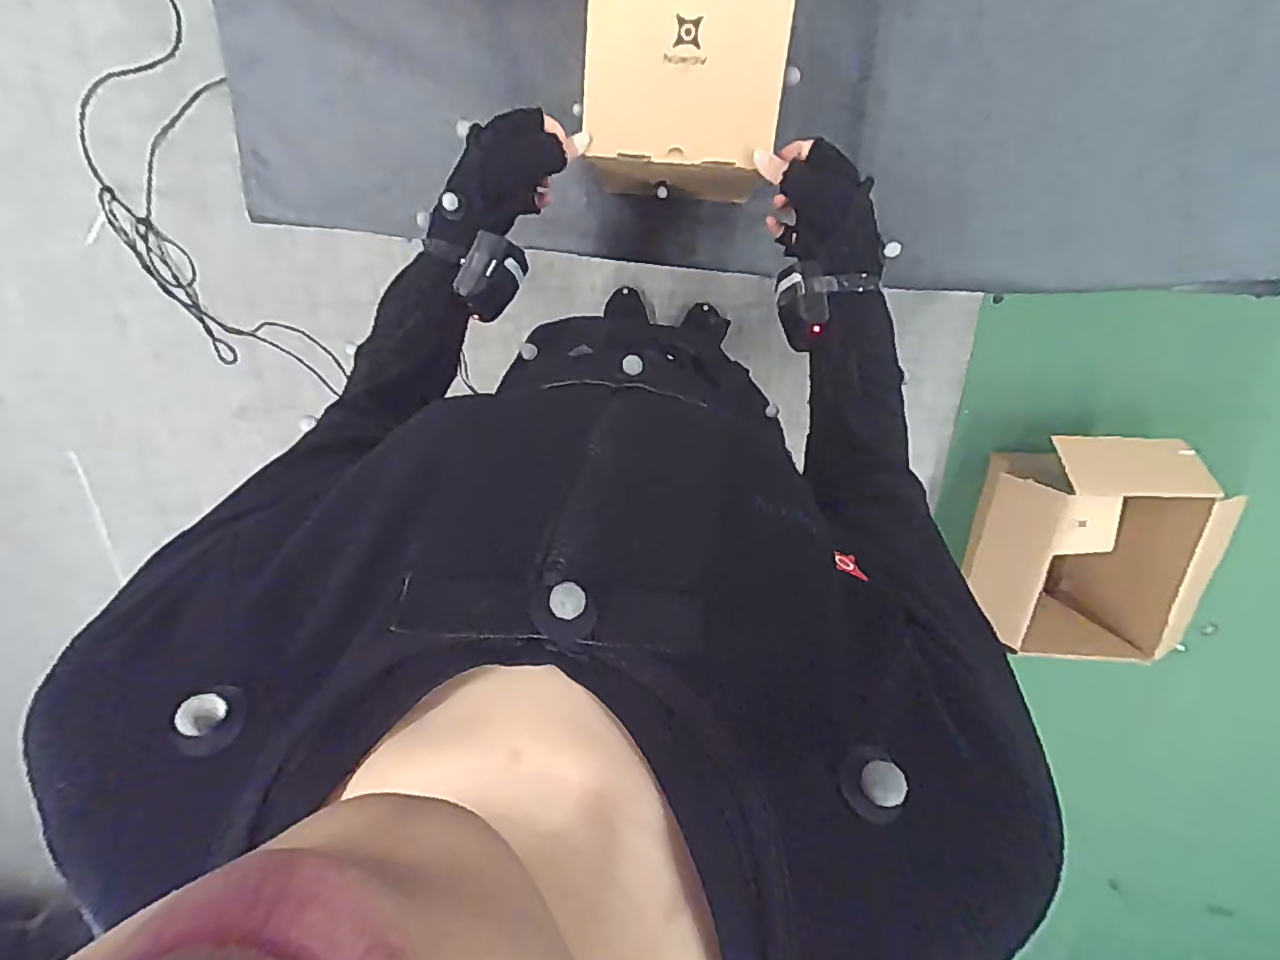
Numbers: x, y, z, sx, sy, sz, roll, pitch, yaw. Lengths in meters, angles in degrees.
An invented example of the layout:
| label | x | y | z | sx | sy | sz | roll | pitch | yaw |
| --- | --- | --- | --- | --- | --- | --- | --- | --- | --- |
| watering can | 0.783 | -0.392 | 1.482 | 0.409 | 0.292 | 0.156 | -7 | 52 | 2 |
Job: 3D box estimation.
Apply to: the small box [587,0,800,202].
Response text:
| label | x | y | z | sx | sy | sz | roll | pitch | yaw |
| --- | --- | --- | --- | --- | --- | --- | --- | --- | --- |
| small box | 0.047 | -0.382 | 0.517 | 0.168 | 0.176 | 0.179 | 6 | 110 | 2 |
